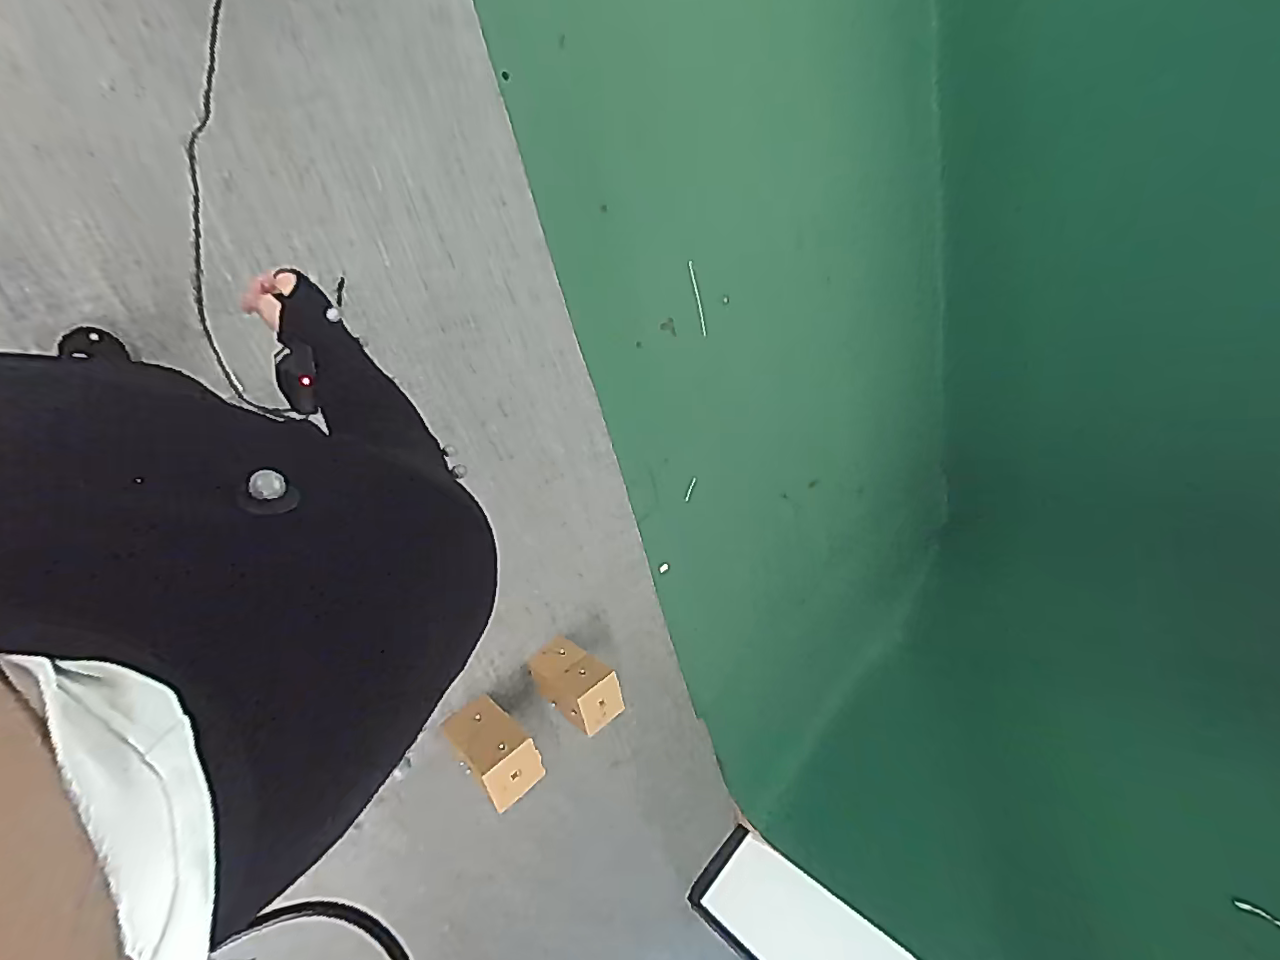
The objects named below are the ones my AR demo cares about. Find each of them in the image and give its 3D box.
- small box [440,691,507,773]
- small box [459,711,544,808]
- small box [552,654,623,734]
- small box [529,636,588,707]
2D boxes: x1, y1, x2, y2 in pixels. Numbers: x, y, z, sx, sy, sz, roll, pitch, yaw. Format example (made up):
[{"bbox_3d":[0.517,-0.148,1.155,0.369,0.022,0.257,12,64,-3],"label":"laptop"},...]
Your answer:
[{"bbox_3d":[-0.540,0.852,1.824,0.179,0.176,0.168,-31,118,-34],"label":"small box"},{"bbox_3d":[-0.435,0.868,1.698,0.179,0.176,0.168,-29,117,-34],"label":"small box"},{"bbox_3d":[-0.186,0.736,1.891,0.168,0.176,0.179,-26,116,-34],"label":"small box"},{"bbox_3d":[-0.292,0.708,2.015,0.168,0.176,0.179,-29,118,-34],"label":"small box"}]
